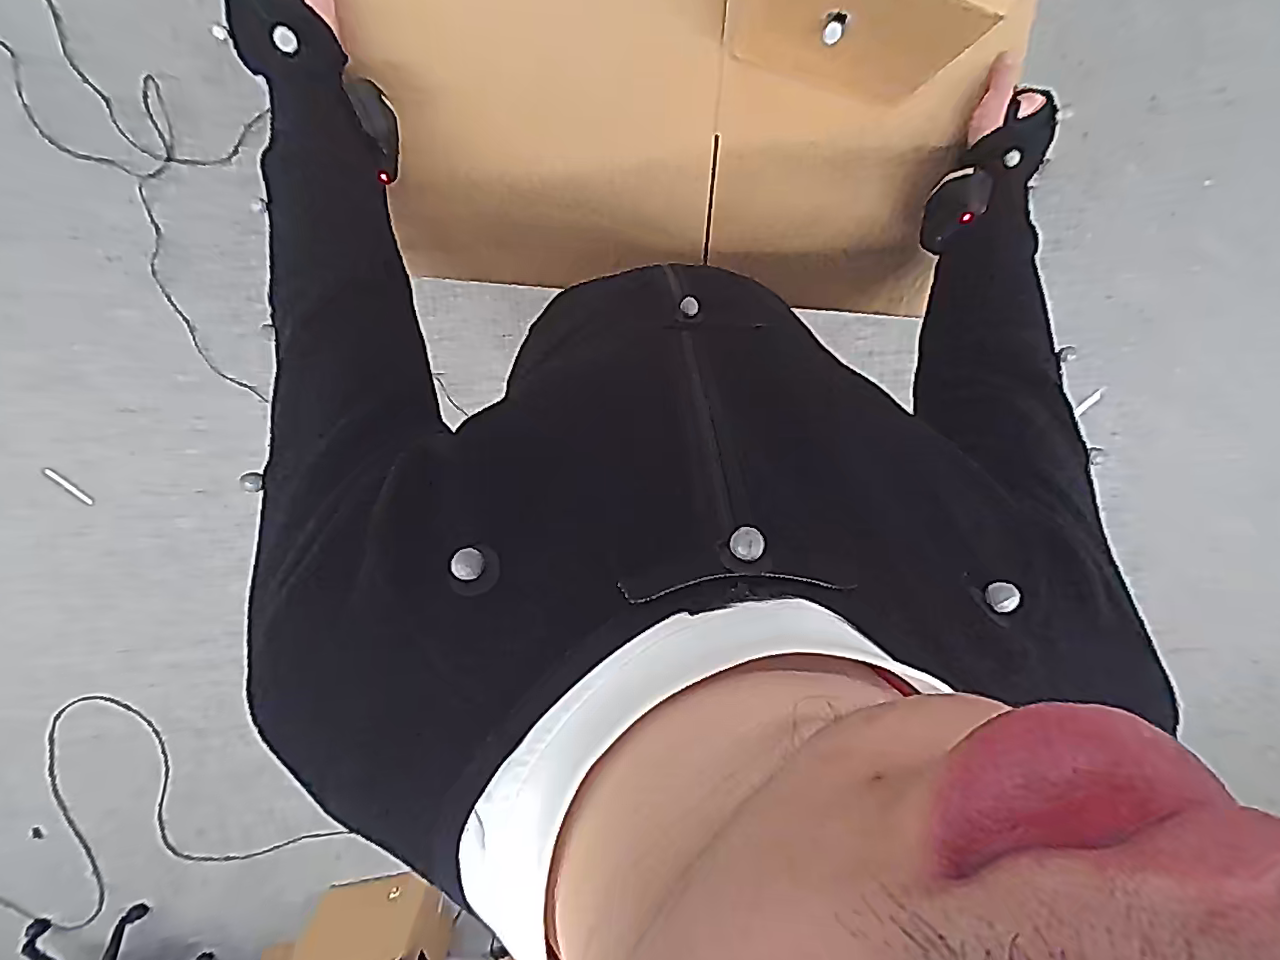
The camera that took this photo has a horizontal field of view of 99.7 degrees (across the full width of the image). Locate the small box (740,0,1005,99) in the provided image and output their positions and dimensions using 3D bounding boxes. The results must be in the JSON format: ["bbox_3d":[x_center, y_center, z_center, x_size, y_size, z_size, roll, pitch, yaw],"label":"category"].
[{"bbox_3d":[0.195,-0.451,0.440,0.179,0.176,0.168,14,105,-5],"label":"small box"}]
